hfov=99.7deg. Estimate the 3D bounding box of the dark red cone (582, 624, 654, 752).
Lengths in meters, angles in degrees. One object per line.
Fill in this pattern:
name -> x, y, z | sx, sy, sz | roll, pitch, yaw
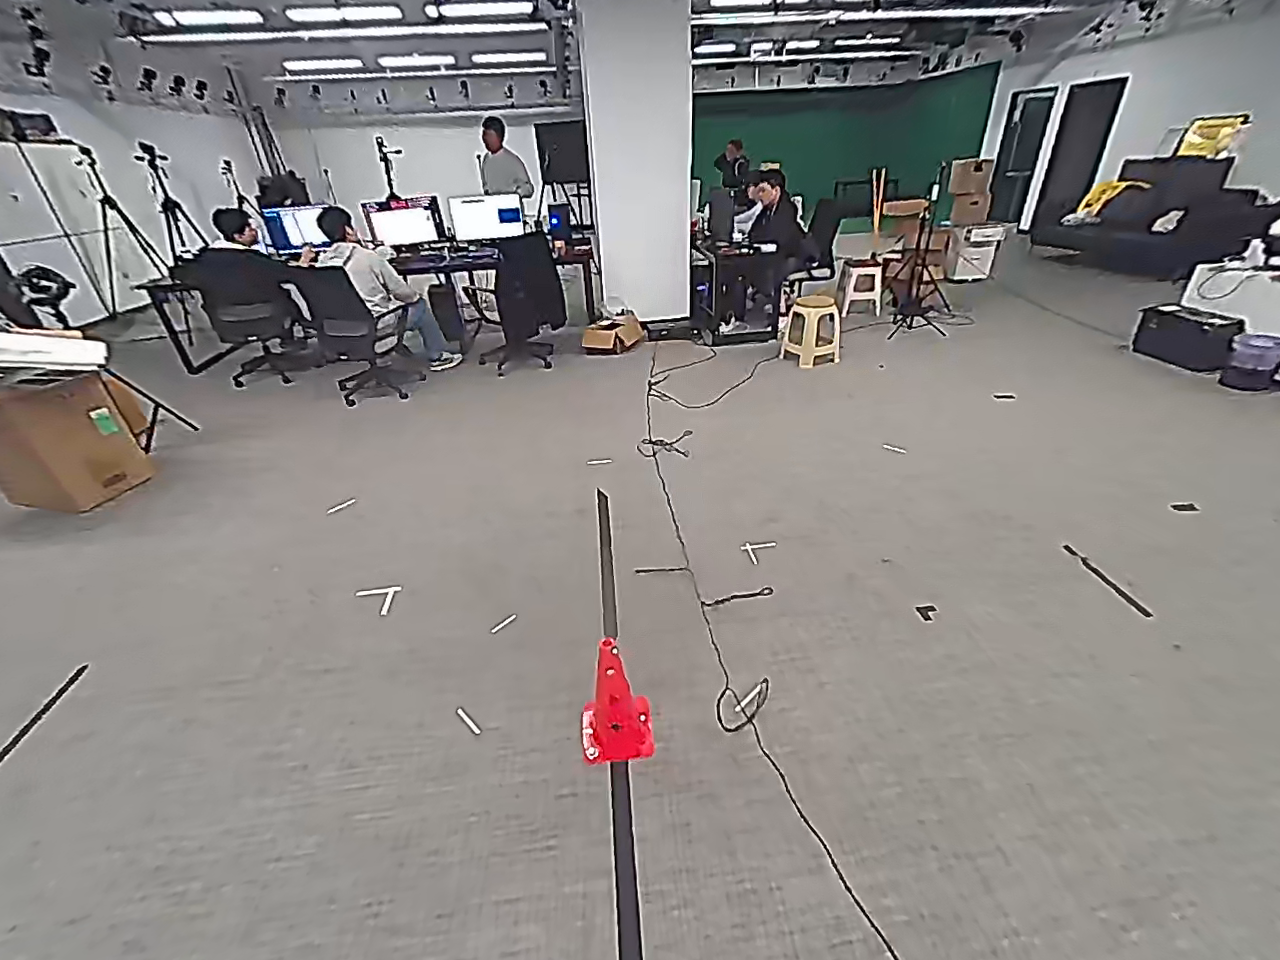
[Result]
dark red cone -> -0.073, 0.554, 1.489 | 0.201, 0.394, 0.202 | -5, 30, -5
